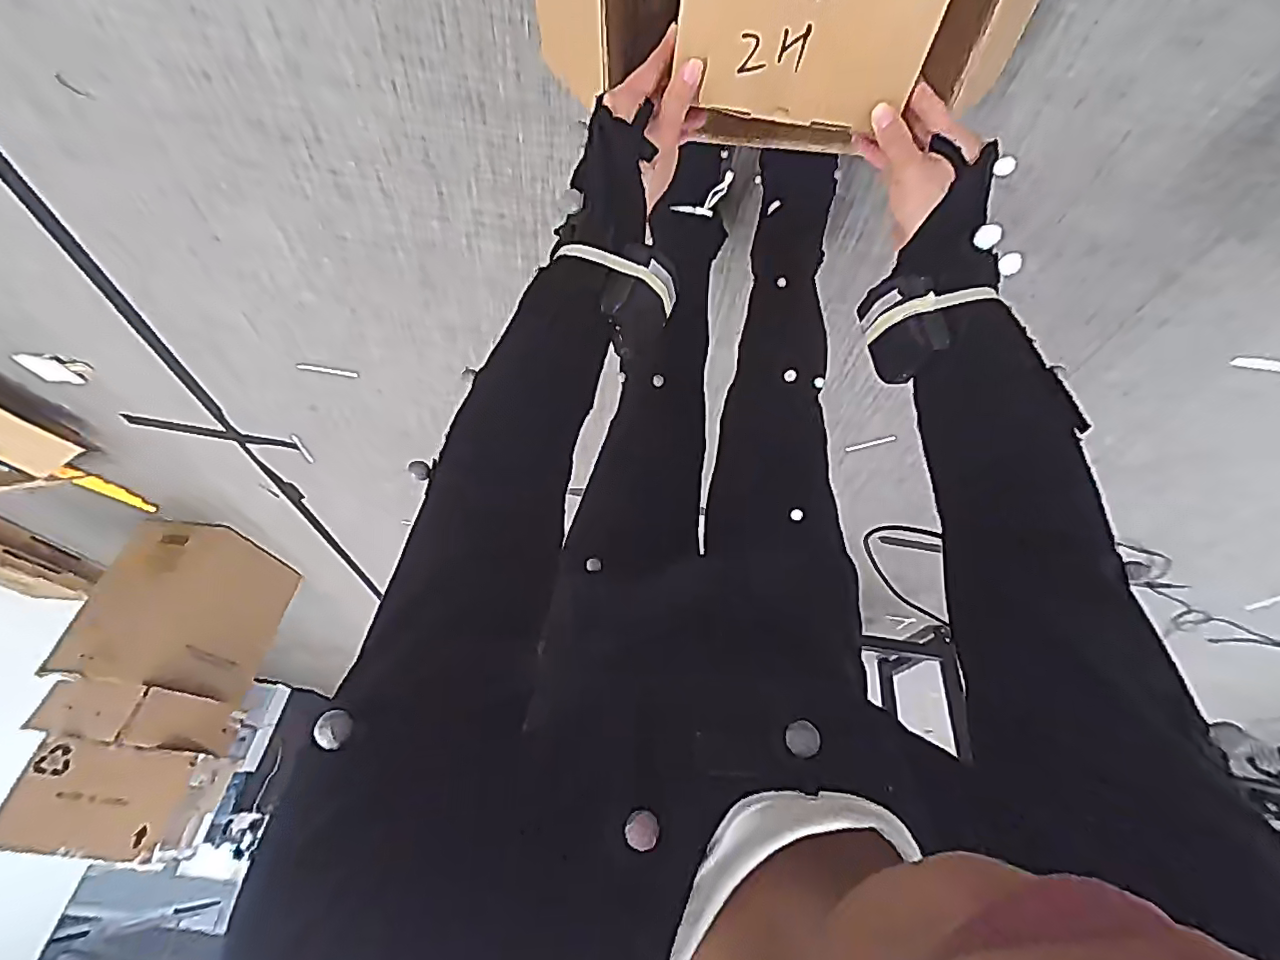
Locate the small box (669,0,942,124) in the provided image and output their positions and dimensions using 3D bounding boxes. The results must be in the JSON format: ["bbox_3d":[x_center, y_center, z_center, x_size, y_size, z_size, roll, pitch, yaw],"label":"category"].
[{"bbox_3d":[0.116,-0.382,0.369,0.168,0.176,0.179,8,143,-1],"label":"small box"}]

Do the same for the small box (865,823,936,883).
[{"bbox_3d":[0.956,1.381,2.009,0.168,0.176,0.179,13,146,-6],"label":"small box"}]
